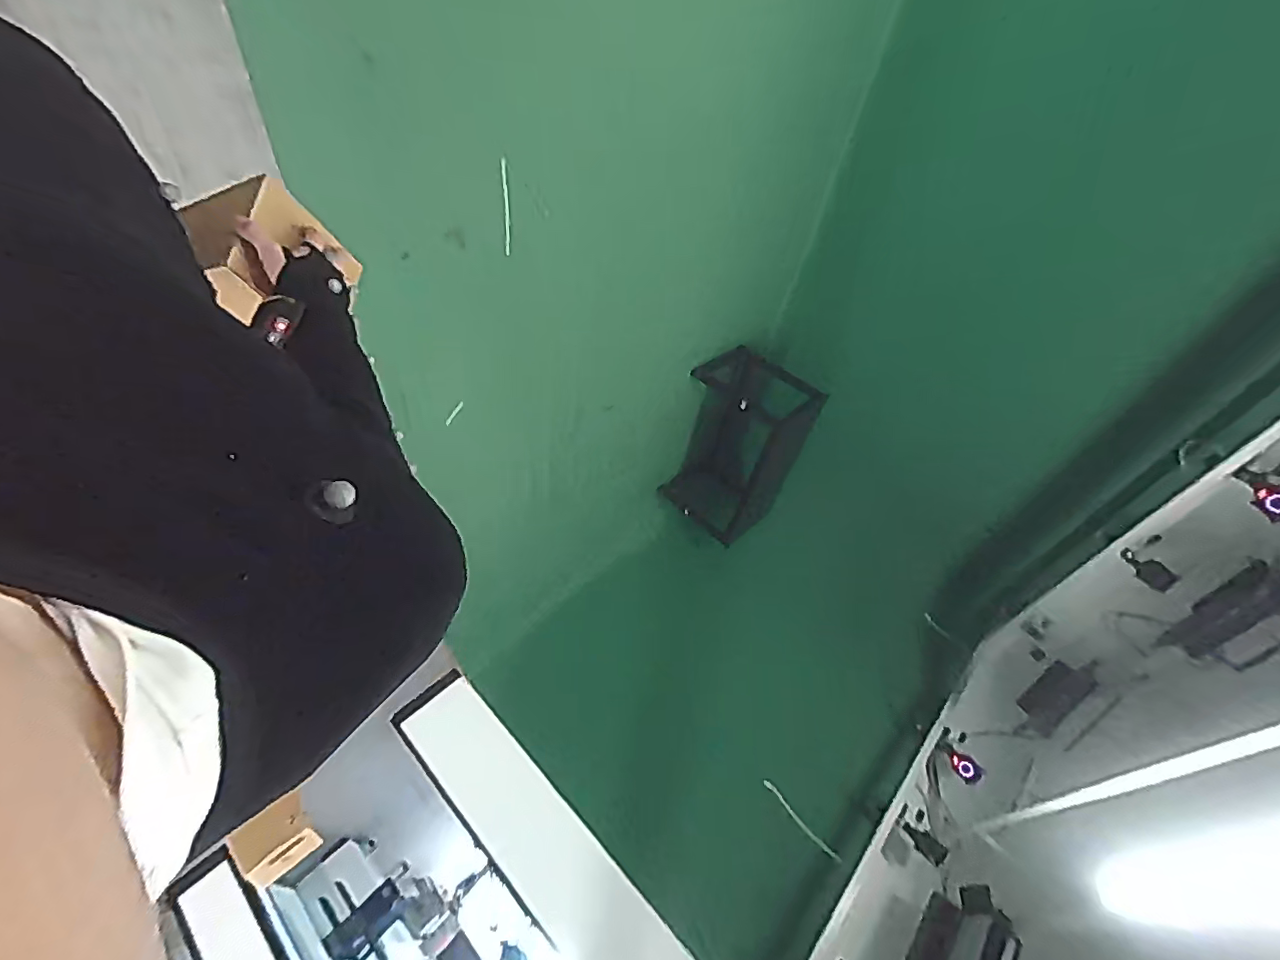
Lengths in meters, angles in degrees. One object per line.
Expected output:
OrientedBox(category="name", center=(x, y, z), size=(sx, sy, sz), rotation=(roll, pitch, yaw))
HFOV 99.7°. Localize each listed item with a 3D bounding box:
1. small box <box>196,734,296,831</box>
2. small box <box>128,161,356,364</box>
OrientedBox(category="small box", center=(-1.173, 0.898, 1.614), size=(0.168, 0.176, 0.179), rotation=(-33, 149, -35))
OrientedBox(category="small box", center=(-0.533, -0.284, 0.738), size=(0.176, 0.179, 0.168), rotation=(-10, 152, 15))
